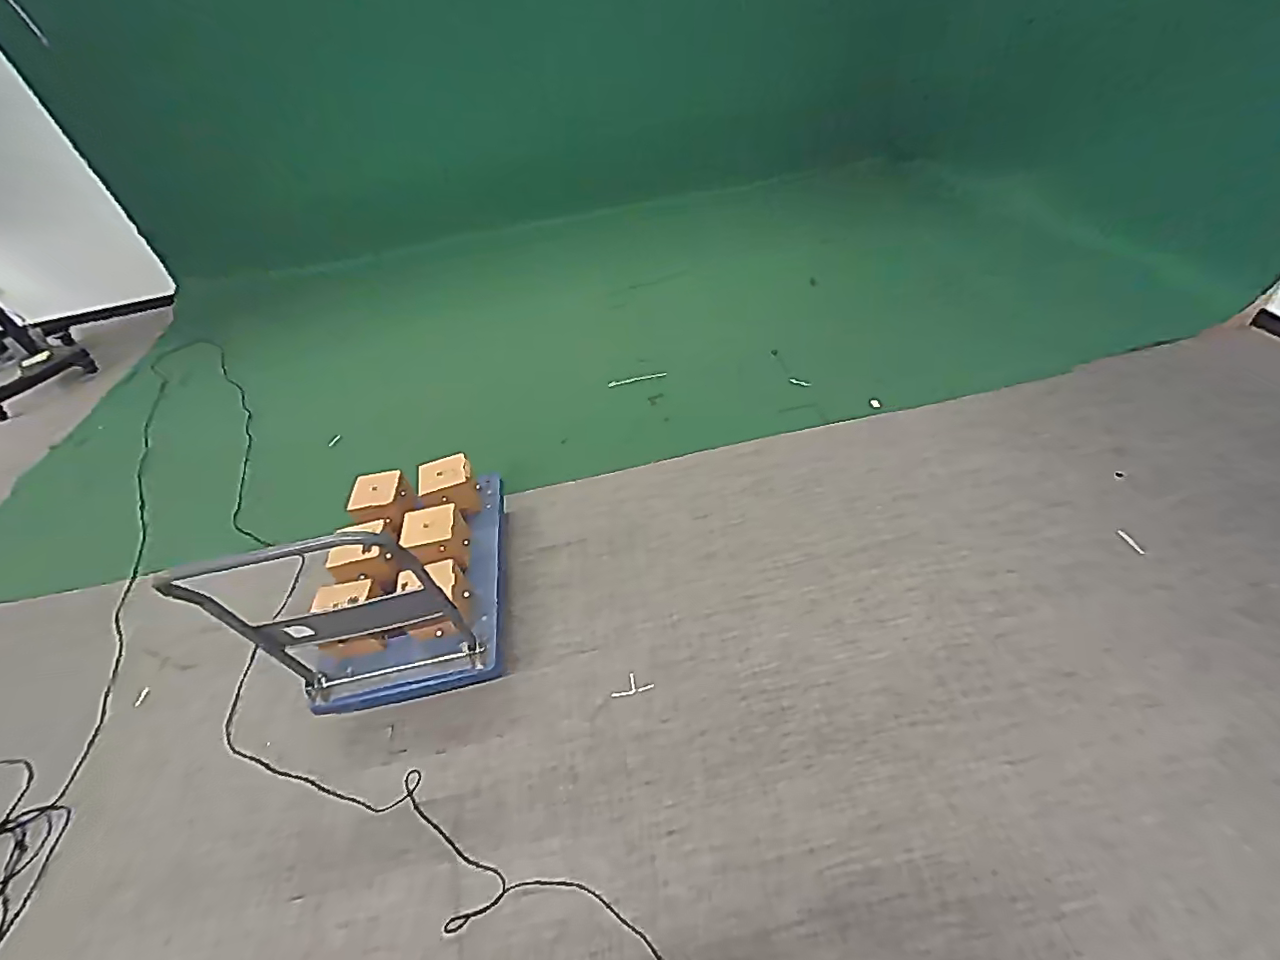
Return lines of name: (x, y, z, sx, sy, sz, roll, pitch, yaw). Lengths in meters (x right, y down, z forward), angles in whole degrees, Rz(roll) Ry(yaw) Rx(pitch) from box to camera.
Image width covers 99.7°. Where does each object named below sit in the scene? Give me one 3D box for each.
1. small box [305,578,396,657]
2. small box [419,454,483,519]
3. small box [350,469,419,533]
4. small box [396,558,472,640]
small box: (-0.896, 0.433, 1.695, 0.179, 0.176, 0.168, -11, 45, 1)
small box: (-0.712, 0.030, 2.050, 0.179, 0.176, 0.168, -11, 48, -2)
small box: (-0.959, 0.086, 2.046, 0.168, 0.176, 0.179, -9, 46, 0)
small box: (-0.639, 0.377, 1.702, 0.179, 0.176, 0.168, -13, 45, -3)
